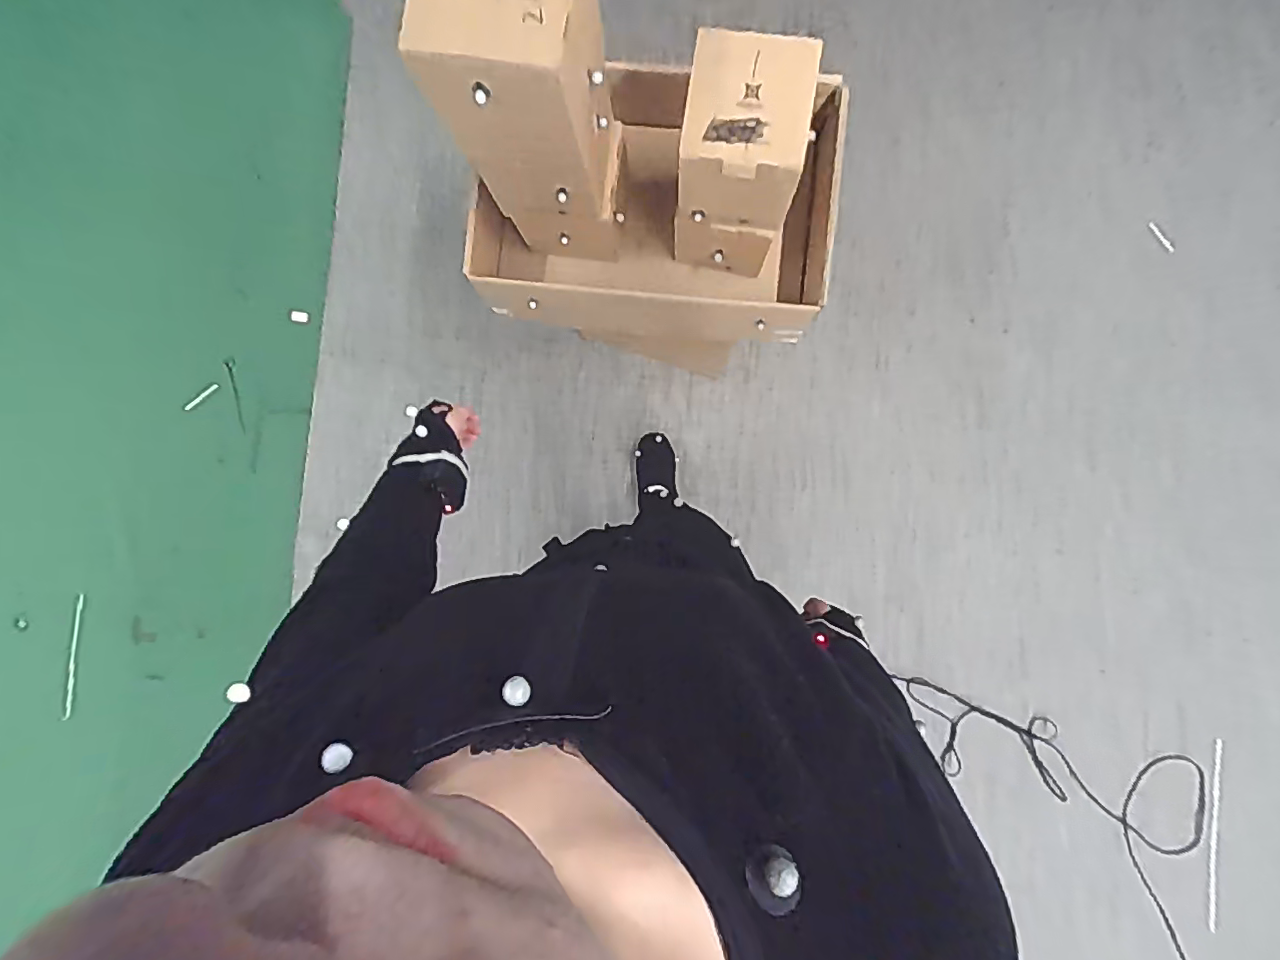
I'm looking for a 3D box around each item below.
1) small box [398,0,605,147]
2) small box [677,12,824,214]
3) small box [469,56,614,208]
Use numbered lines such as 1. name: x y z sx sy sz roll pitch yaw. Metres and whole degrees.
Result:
1. small box: -0.149 -0.528 0.638 0.179 0.176 0.168 10 90 4
2. small box: 0.150 -0.513 0.780 0.168 0.176 0.179 9 89 4
3. small box: -0.135 -0.532 0.802 0.168 0.176 0.179 7 89 4
